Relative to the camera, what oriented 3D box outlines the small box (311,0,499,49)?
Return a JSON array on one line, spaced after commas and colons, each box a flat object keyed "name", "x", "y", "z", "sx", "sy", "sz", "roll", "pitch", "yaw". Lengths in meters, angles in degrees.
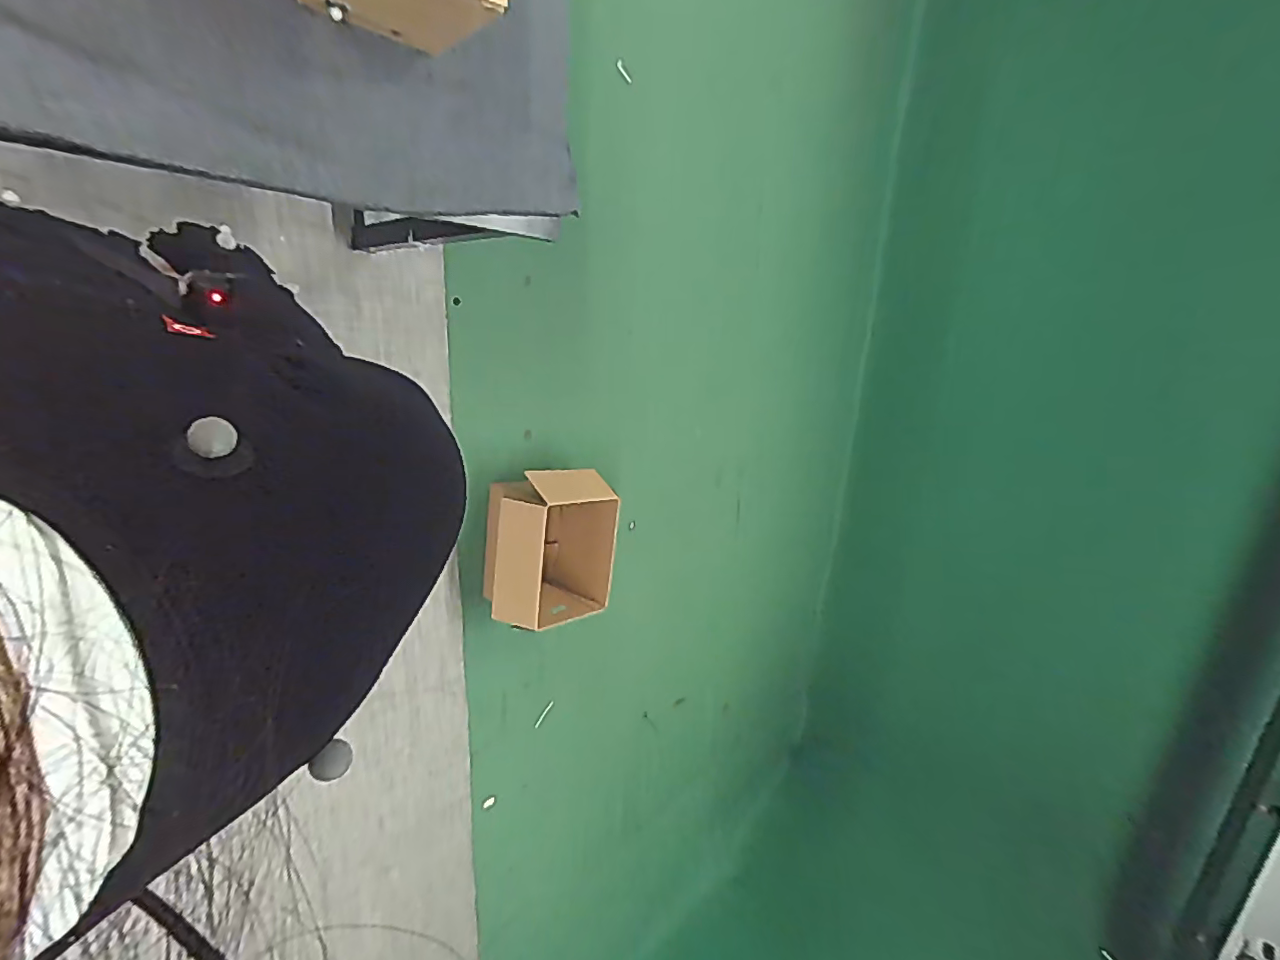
[{"name": "small box", "x": -0.270, "y": -0.606, "z": 0.577, "sx": 0.168, "sy": 0.176, "sz": 0.179, "roll": -17, "pitch": 114, "yaw": -45}]
